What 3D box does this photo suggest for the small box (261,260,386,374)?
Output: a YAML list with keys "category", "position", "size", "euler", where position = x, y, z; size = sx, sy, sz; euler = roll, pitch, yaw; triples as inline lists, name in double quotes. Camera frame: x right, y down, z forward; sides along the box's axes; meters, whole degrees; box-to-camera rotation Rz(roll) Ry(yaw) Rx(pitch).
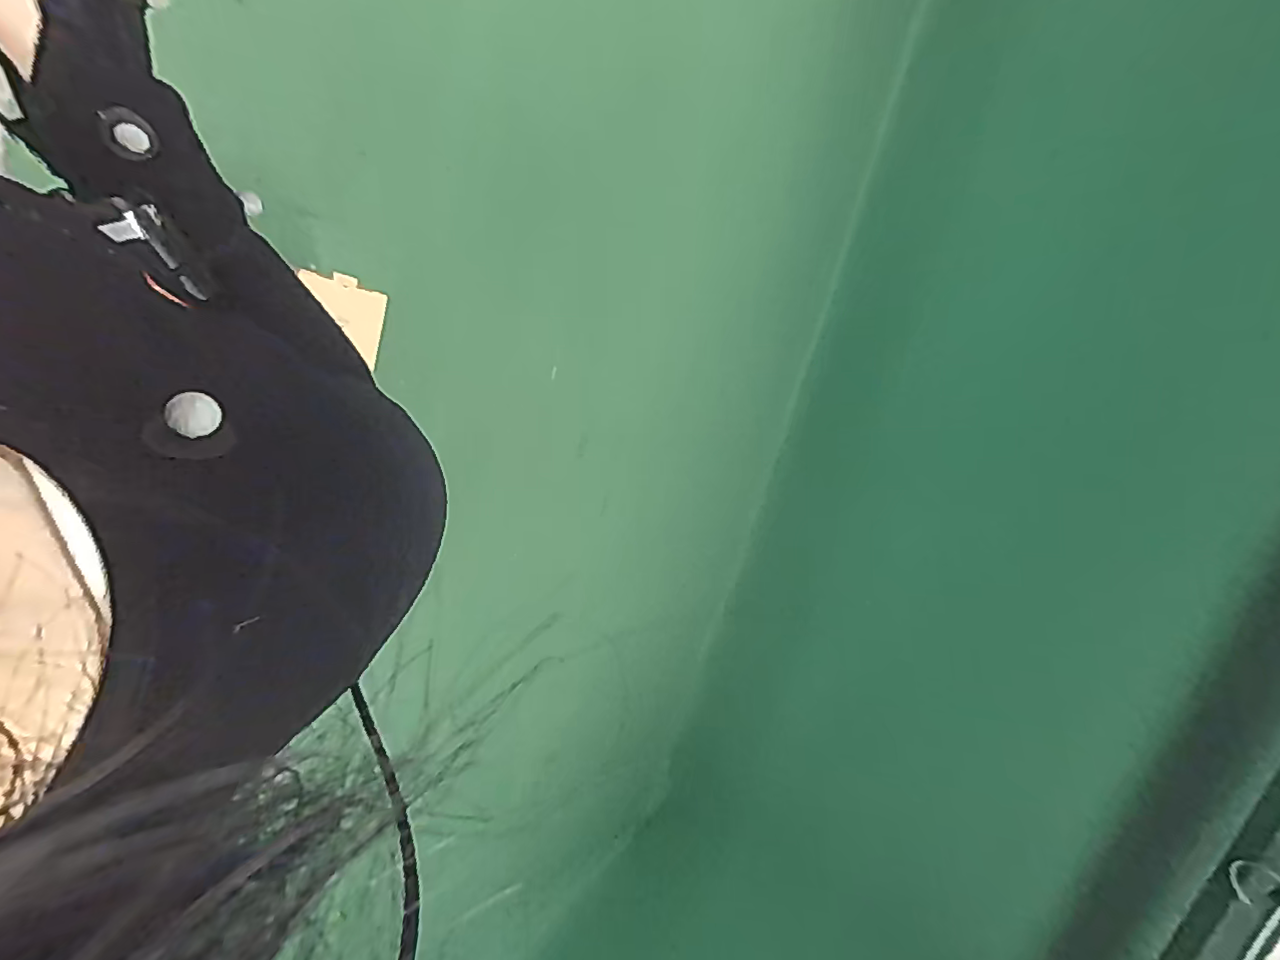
- category: "small box"
  position: [-0.651, -0.335, 1.107]
  size: [0.168, 0.176, 0.179]
  euler: [3, 108, -50]
